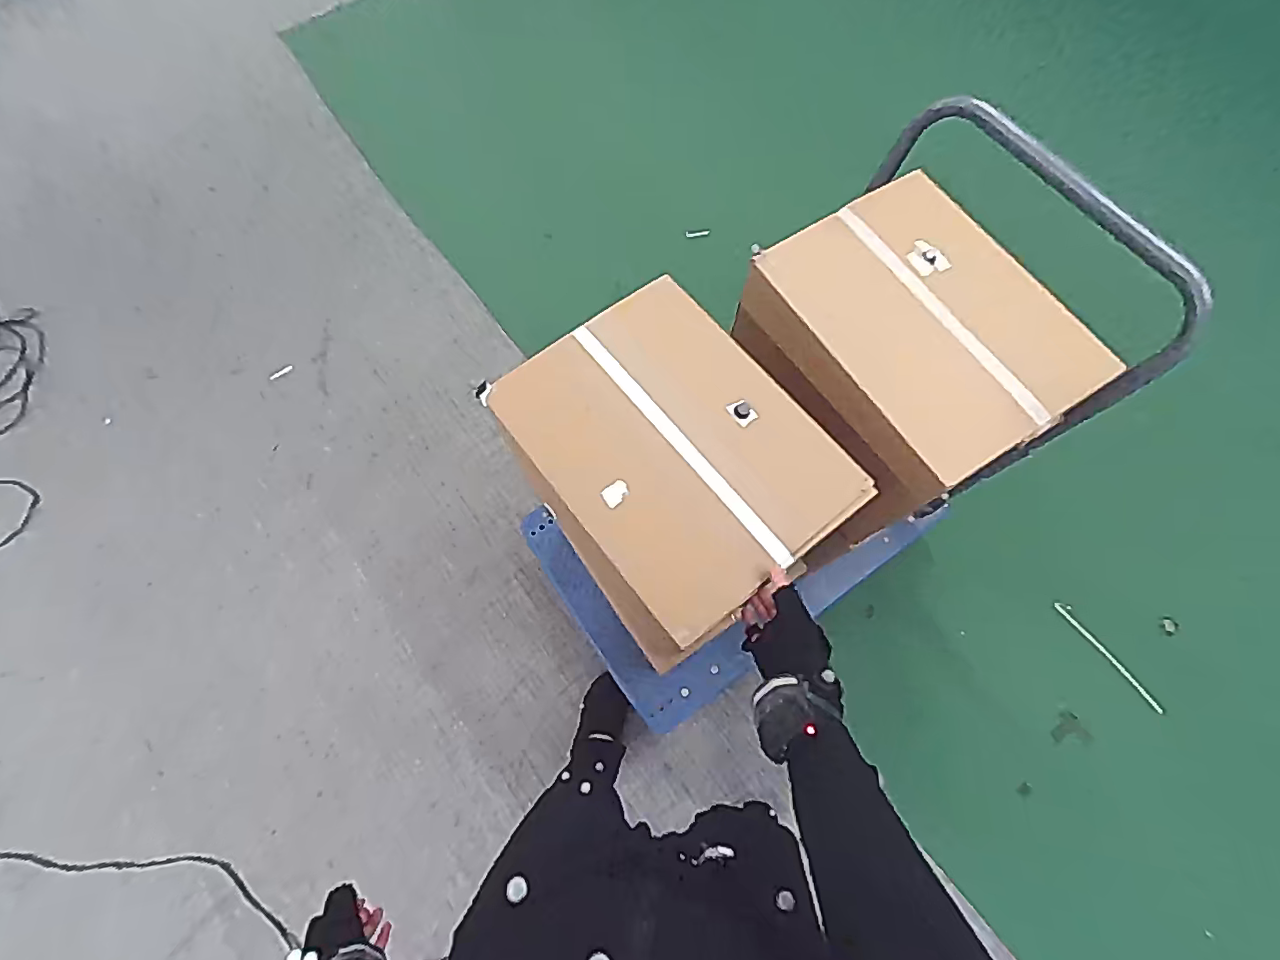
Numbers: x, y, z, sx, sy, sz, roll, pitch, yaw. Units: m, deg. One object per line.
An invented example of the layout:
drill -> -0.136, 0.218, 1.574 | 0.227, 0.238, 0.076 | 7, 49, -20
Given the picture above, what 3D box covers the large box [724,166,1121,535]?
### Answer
large box -> 0.384, -0.182, 0.858 | 0.320, 0.320, 0.408 | -30, 73, -9
